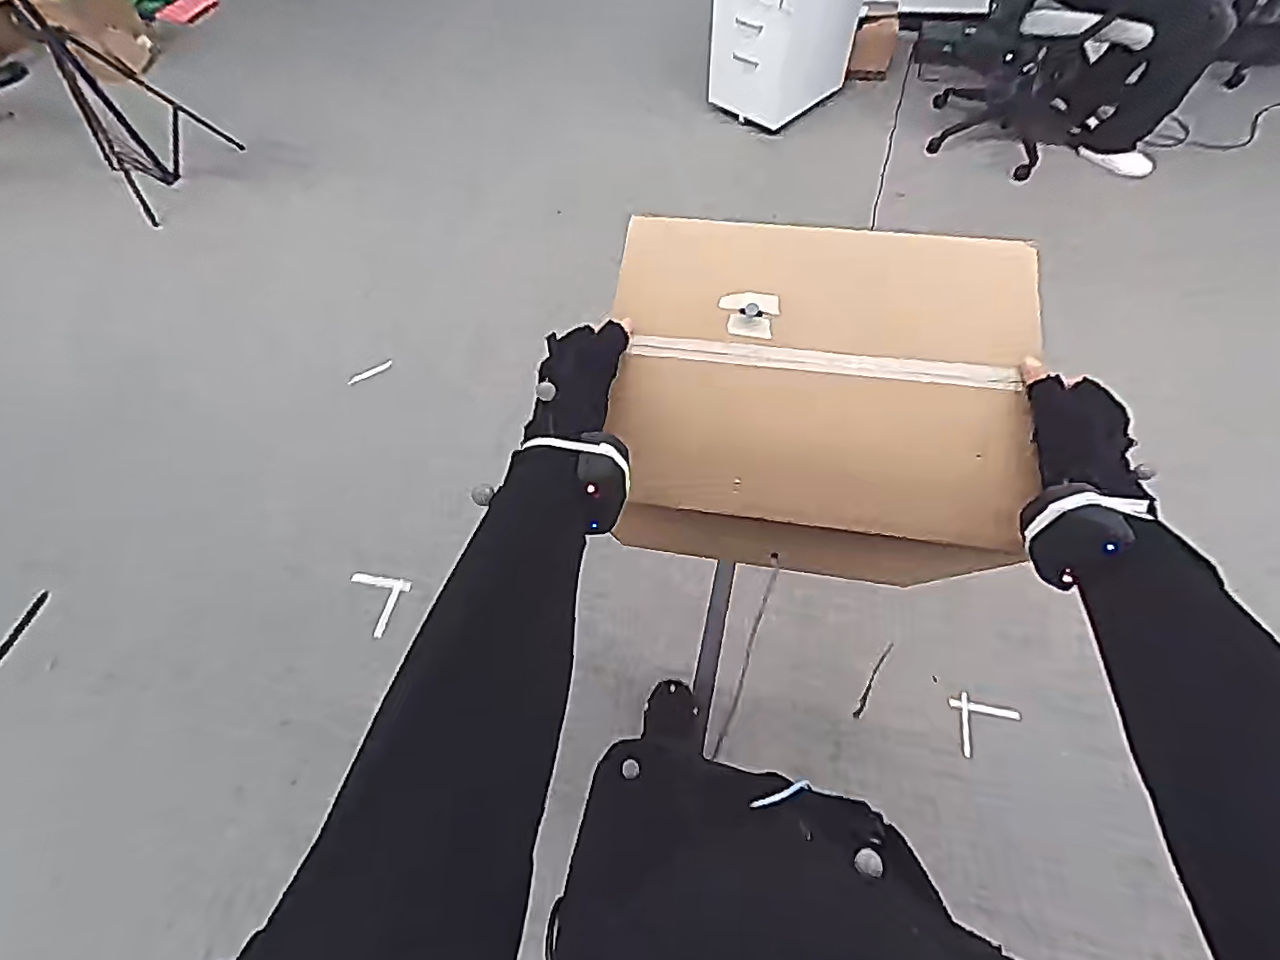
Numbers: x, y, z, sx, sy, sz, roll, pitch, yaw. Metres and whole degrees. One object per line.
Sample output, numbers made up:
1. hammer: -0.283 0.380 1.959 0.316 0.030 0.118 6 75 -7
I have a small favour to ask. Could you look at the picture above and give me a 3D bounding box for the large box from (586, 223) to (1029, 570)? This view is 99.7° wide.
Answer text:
1. large box: 0.182 -0.077 0.673 0.408 0.320 0.320 8 74 9
